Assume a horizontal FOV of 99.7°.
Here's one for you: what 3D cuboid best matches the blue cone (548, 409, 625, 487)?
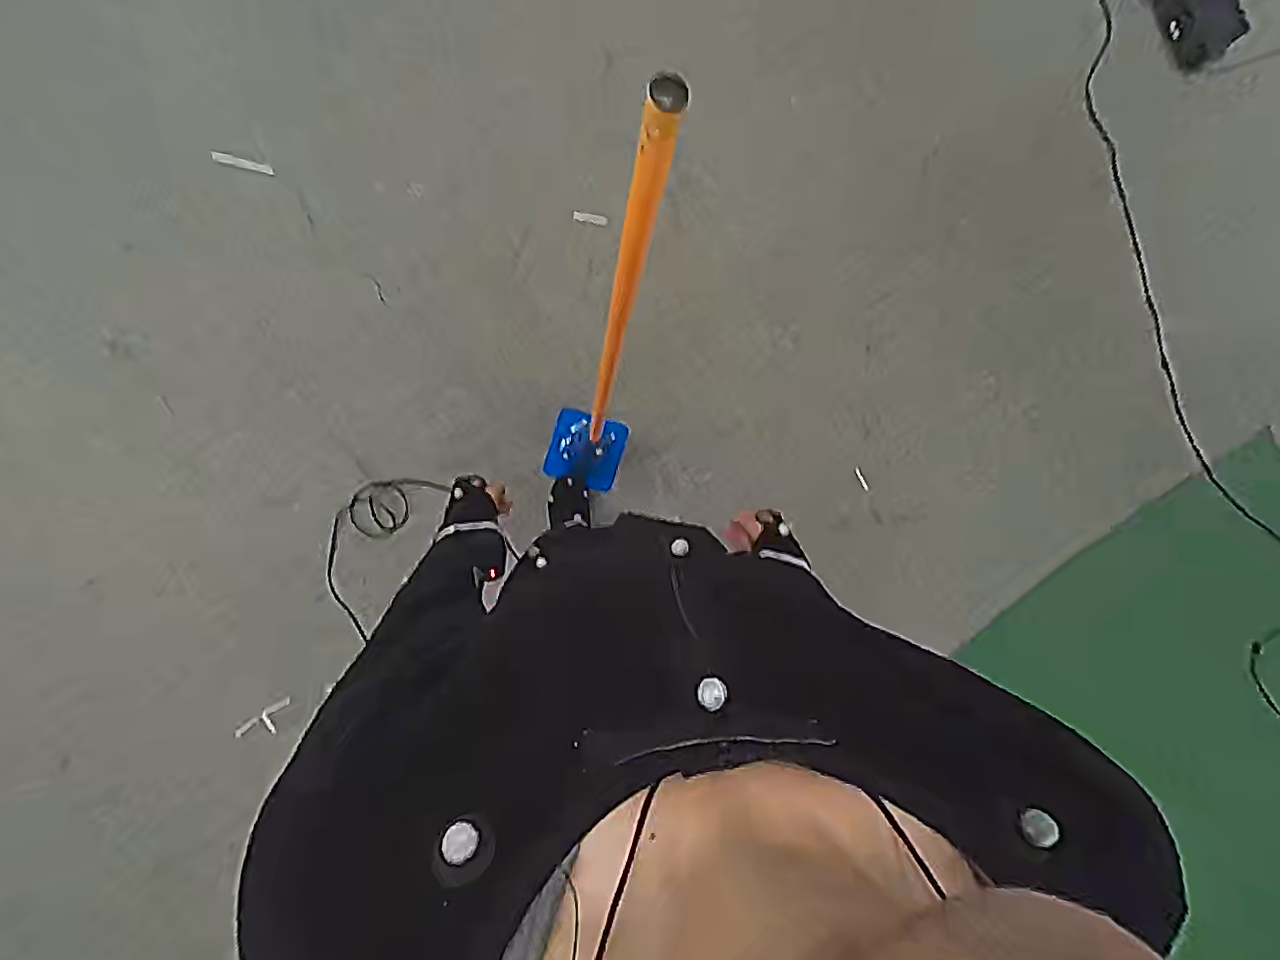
[{"bbox_3d":[-0.119,-0.094,1.305,0.192,0.380,0.193,16,86,-9],"label":"blue cone"}]
